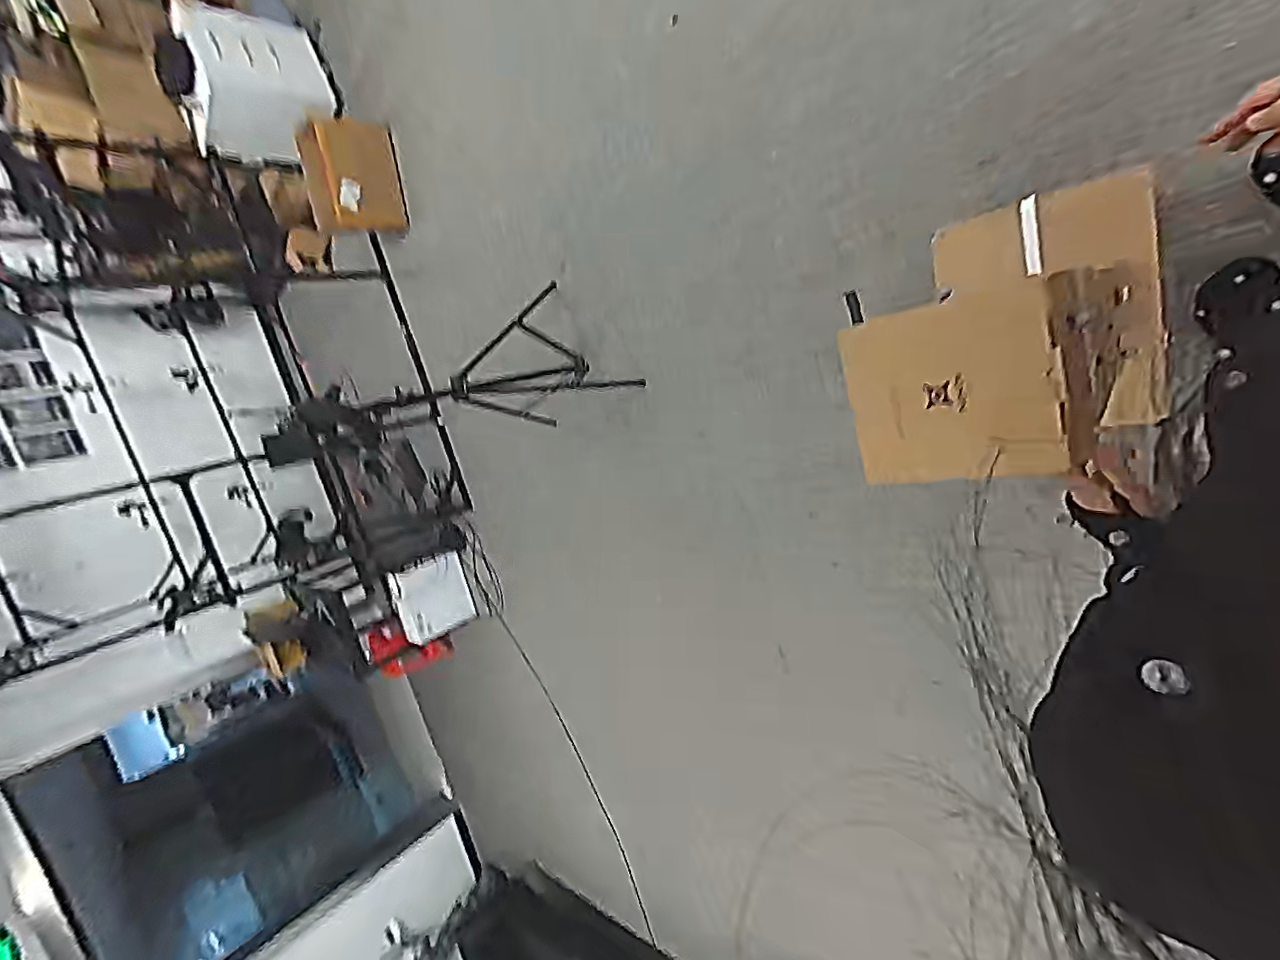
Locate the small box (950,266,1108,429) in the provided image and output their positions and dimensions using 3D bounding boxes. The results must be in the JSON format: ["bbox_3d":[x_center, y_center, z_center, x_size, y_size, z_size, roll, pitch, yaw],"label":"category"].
[{"bbox_3d":[0.445,-0.150,0.656,0.179,0.176,0.168,-6,103,47],"label":"small box"}]

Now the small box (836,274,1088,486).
[{"bbox_3d":[0.332,-0.100,0.550,0.179,0.176,0.168,-6,102,48],"label":"small box"}]
